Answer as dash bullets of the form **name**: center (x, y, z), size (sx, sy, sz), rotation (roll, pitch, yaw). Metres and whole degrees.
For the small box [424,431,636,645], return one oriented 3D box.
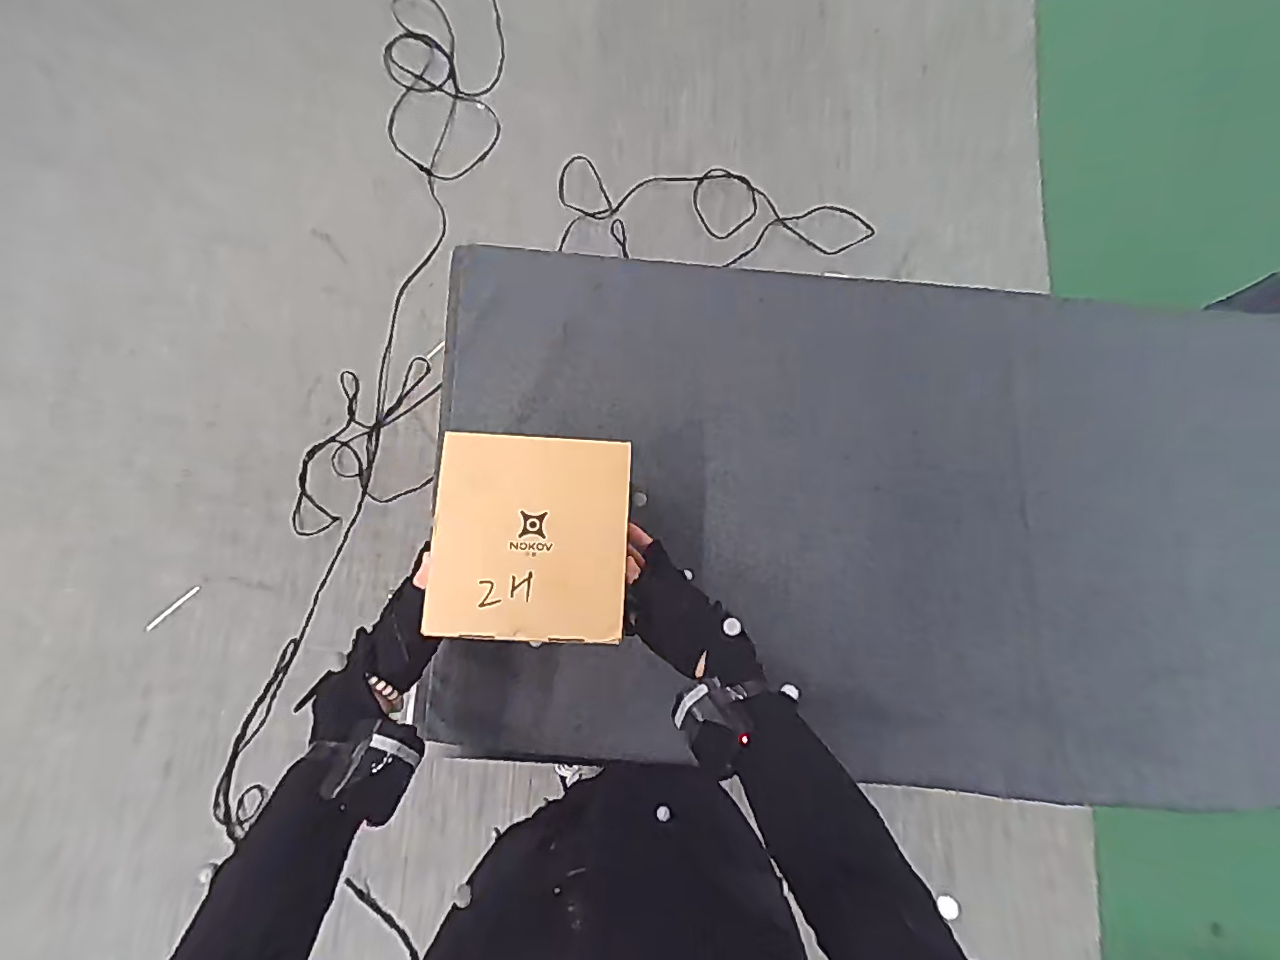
- **small box**: center (-0.096, 0.063, 0.538), size (0.168, 0.176, 0.179), rotation (3, 79, -3)
